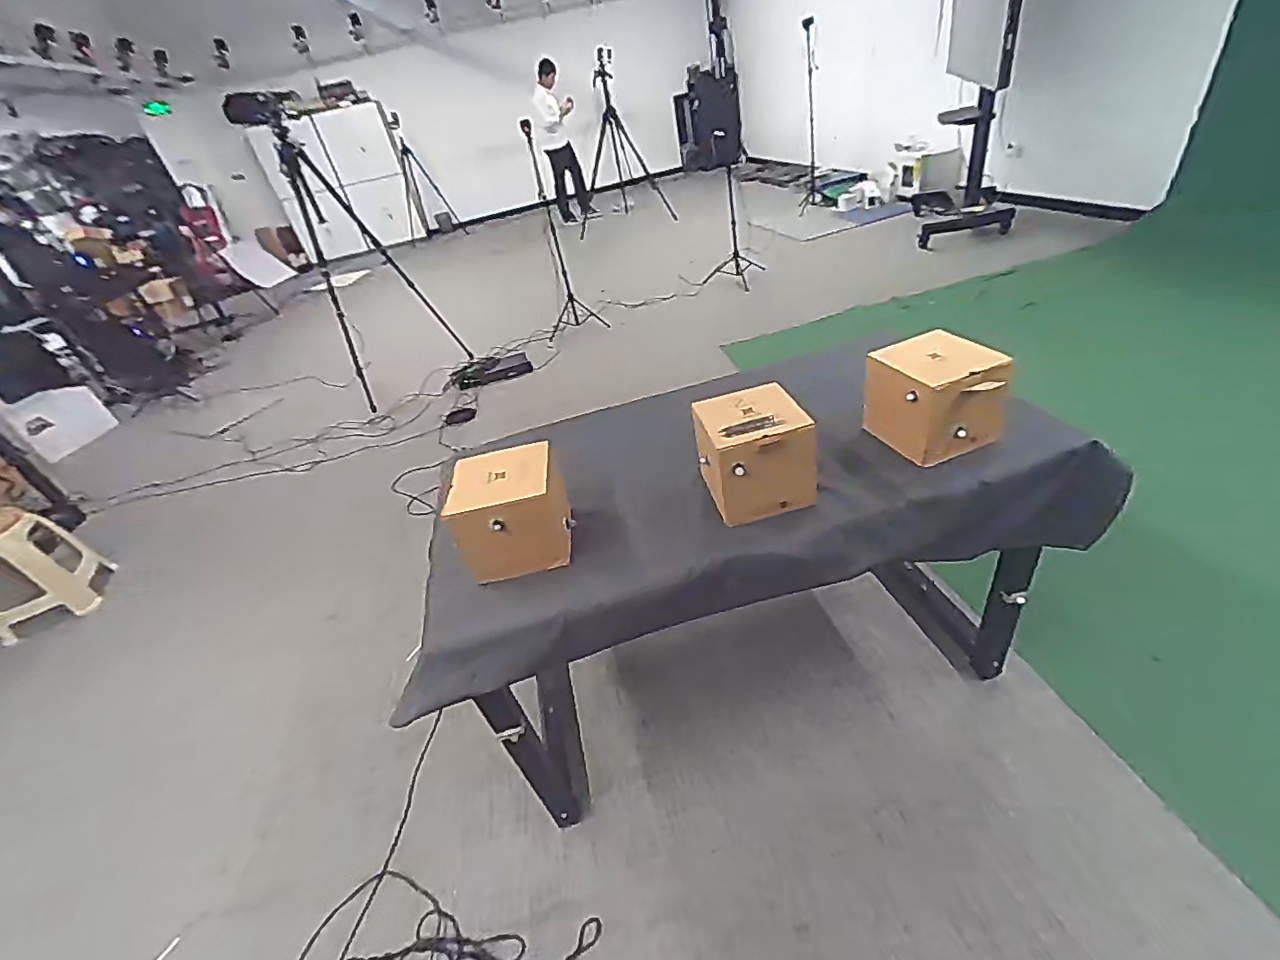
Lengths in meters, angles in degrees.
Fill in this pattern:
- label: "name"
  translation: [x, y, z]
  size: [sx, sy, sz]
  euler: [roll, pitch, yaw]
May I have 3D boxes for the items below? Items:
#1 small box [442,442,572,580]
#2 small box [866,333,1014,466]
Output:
- label: "small box"
  translation: [-0.226, 0.058, 0.969]
  size: [0.179, 0.176, 0.168]
  euler: [-11, 37, 0]
- label: "small box"
  translation: [0.547, -0.153, 1.015]
  size: [0.168, 0.176, 0.179]
  euler: [-20, 36, -9]
